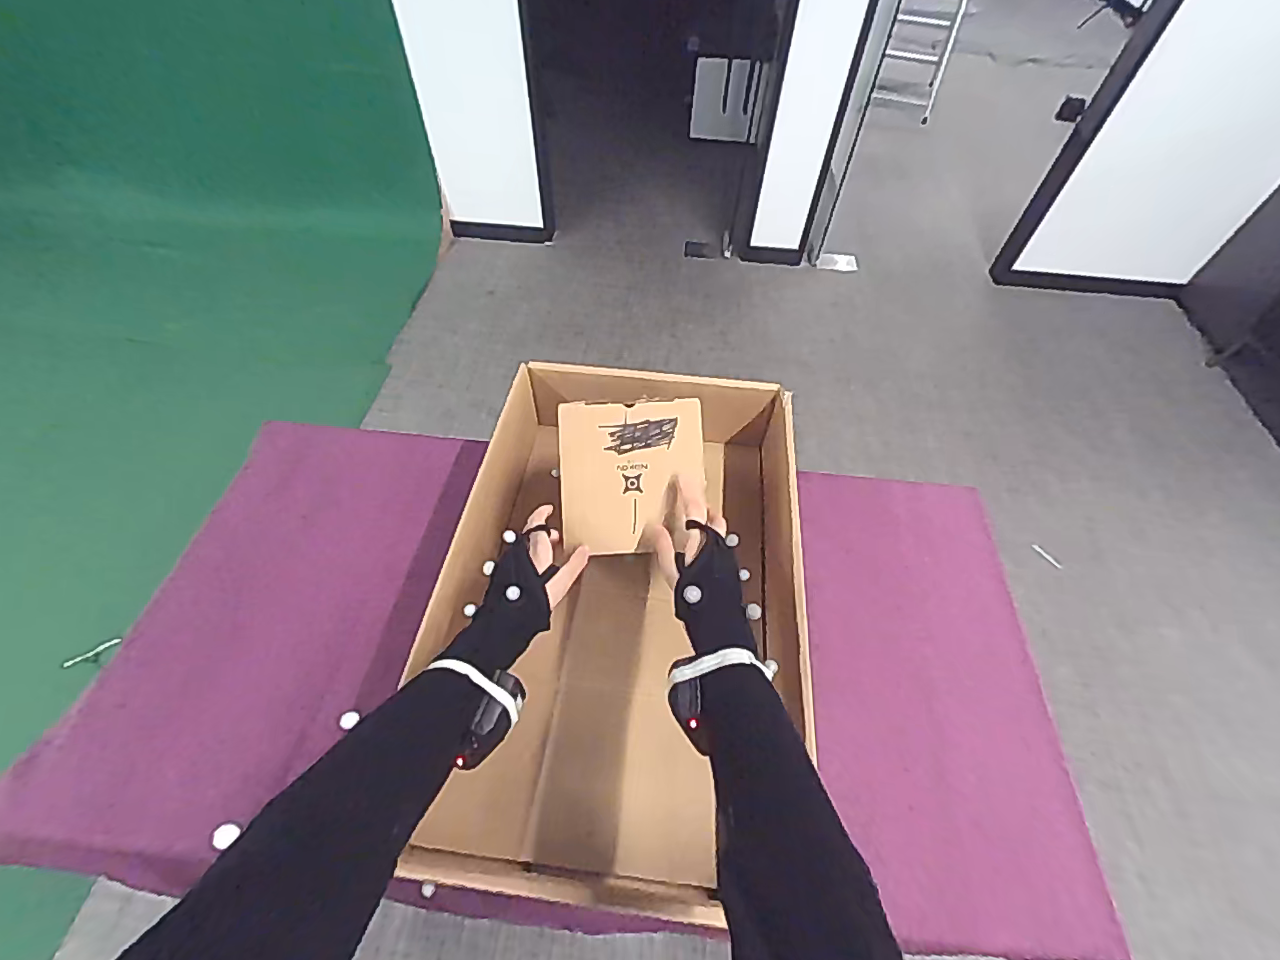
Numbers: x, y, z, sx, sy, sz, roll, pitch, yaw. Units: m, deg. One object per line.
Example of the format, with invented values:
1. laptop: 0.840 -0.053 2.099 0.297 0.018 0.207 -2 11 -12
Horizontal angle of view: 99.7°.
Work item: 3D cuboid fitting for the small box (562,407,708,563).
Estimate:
1. small box: -0.011 0.011 0.692 0.168 0.176 0.179 -3 86 -3
